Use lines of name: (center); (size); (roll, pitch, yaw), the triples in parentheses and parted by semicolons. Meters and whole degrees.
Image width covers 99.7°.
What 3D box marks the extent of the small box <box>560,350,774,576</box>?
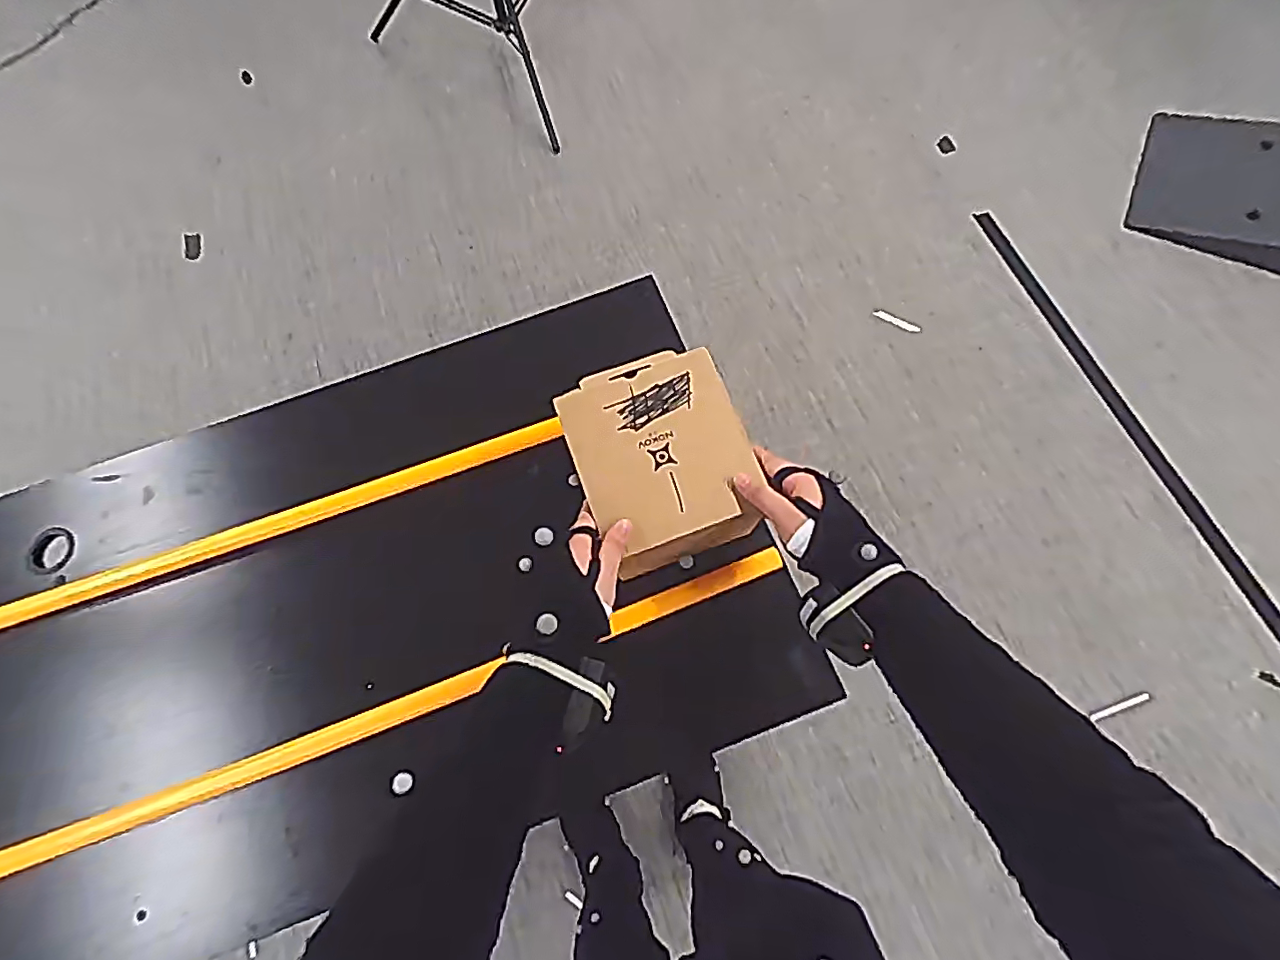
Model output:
small box: (0.025, -0.008, 0.600); (0.168, 0.176, 0.179); (-20, 74, -3)
